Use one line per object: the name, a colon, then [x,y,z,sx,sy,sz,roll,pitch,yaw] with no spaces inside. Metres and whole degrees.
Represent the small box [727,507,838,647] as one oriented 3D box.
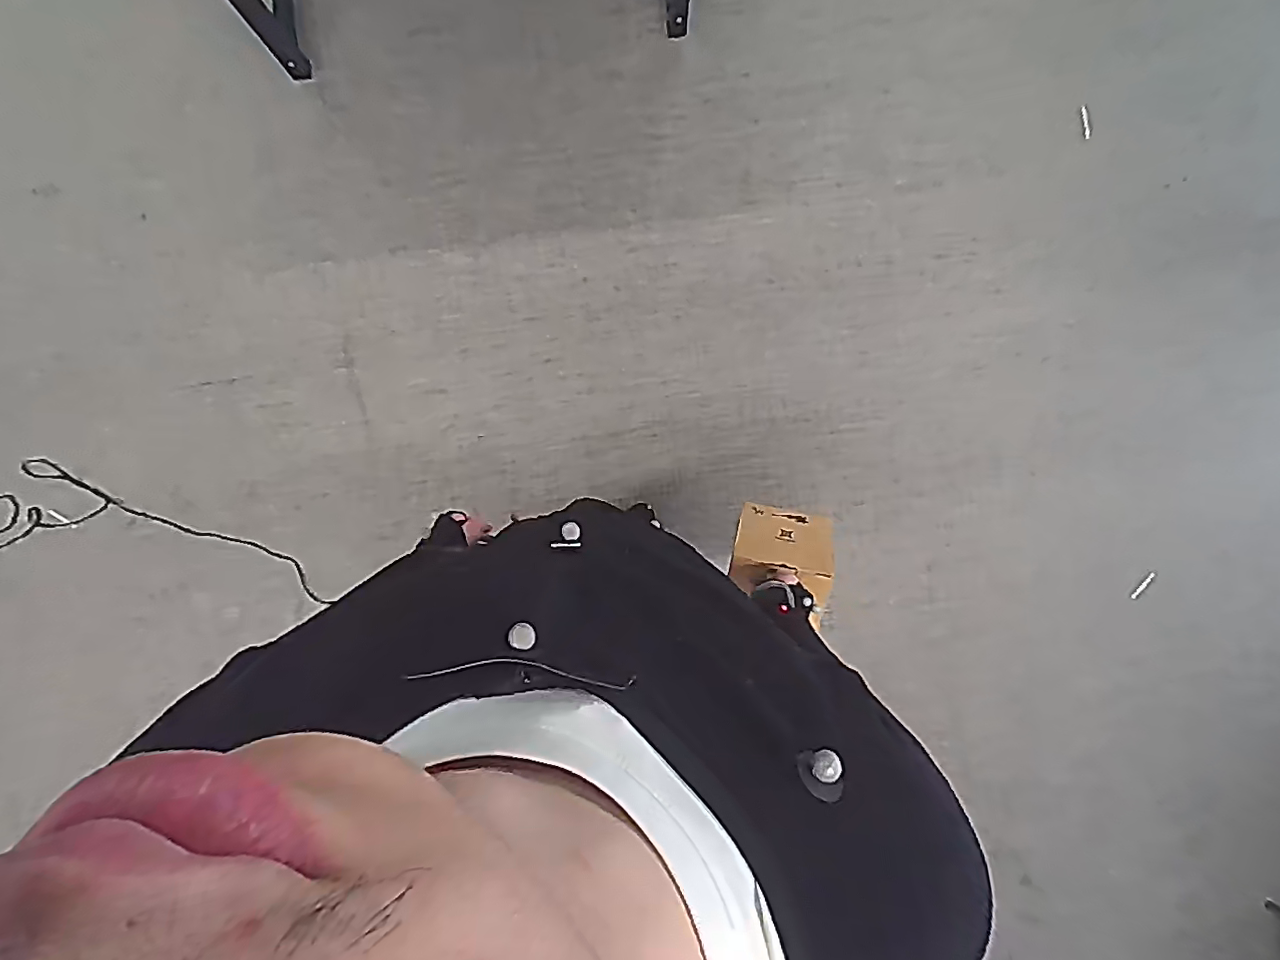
small box: [0.253,0.174,0.980,0.168,0.179,0.176,8,120,10]
